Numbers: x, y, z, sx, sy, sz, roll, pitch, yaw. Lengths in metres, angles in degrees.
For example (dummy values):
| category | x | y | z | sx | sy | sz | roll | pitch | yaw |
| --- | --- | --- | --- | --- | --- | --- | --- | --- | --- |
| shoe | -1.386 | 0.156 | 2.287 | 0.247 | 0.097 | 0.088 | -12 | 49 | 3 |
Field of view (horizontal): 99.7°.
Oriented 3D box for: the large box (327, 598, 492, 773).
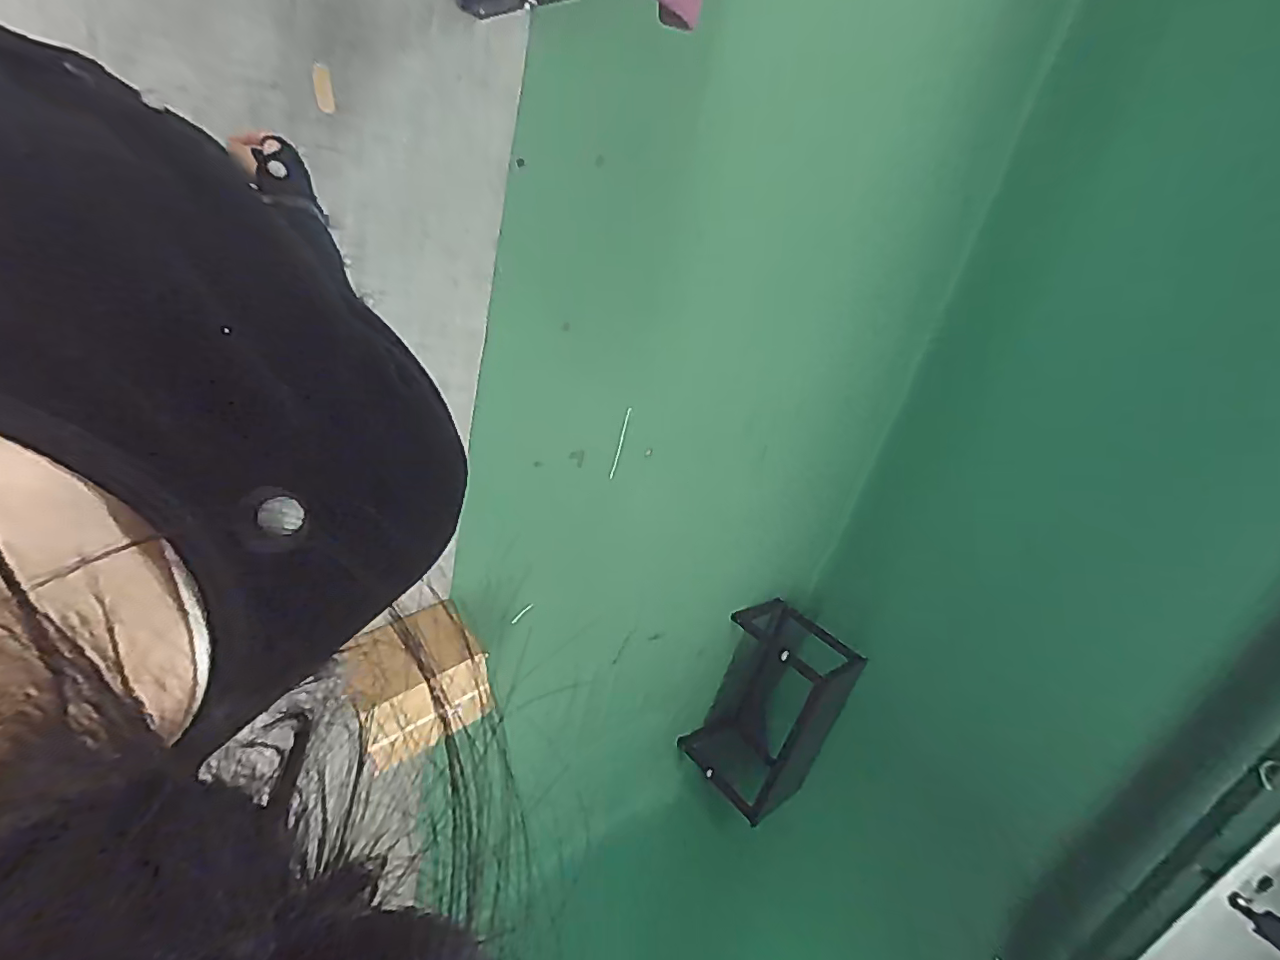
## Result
| category | x | y | z | sx | sy | sz | roll | pitch | yaw |
| --- | --- | --- | --- | --- | --- | --- | --- | --- | --- |
| large box | -0.769 | 0.673 | 1.831 | 0.408 | 0.320 | 0.320 | -22 | 131 | -36 |
